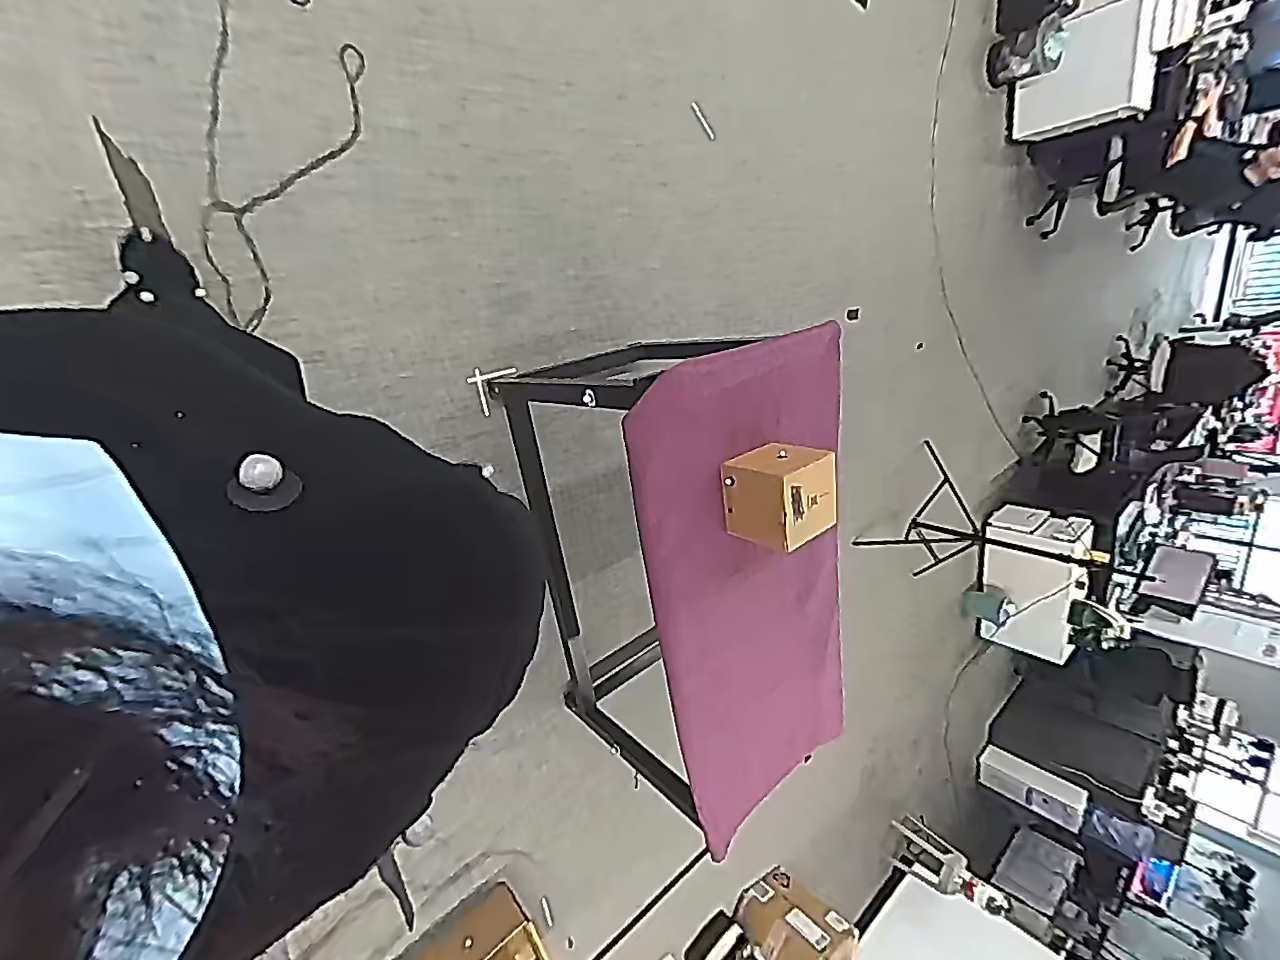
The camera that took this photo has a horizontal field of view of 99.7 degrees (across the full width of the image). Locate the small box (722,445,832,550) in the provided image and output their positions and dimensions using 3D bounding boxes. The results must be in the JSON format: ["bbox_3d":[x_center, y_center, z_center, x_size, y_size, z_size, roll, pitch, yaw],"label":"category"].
[{"bbox_3d":[0.290,0.030,1.168,0.179,0.176,0.168,-22,113,-34],"label":"small box"}]

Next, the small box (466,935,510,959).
[{"bbox_3d":[-0.497,1.666,1.770,0.179,0.176,0.168,-28,117,-31],"label":"small box"}]
